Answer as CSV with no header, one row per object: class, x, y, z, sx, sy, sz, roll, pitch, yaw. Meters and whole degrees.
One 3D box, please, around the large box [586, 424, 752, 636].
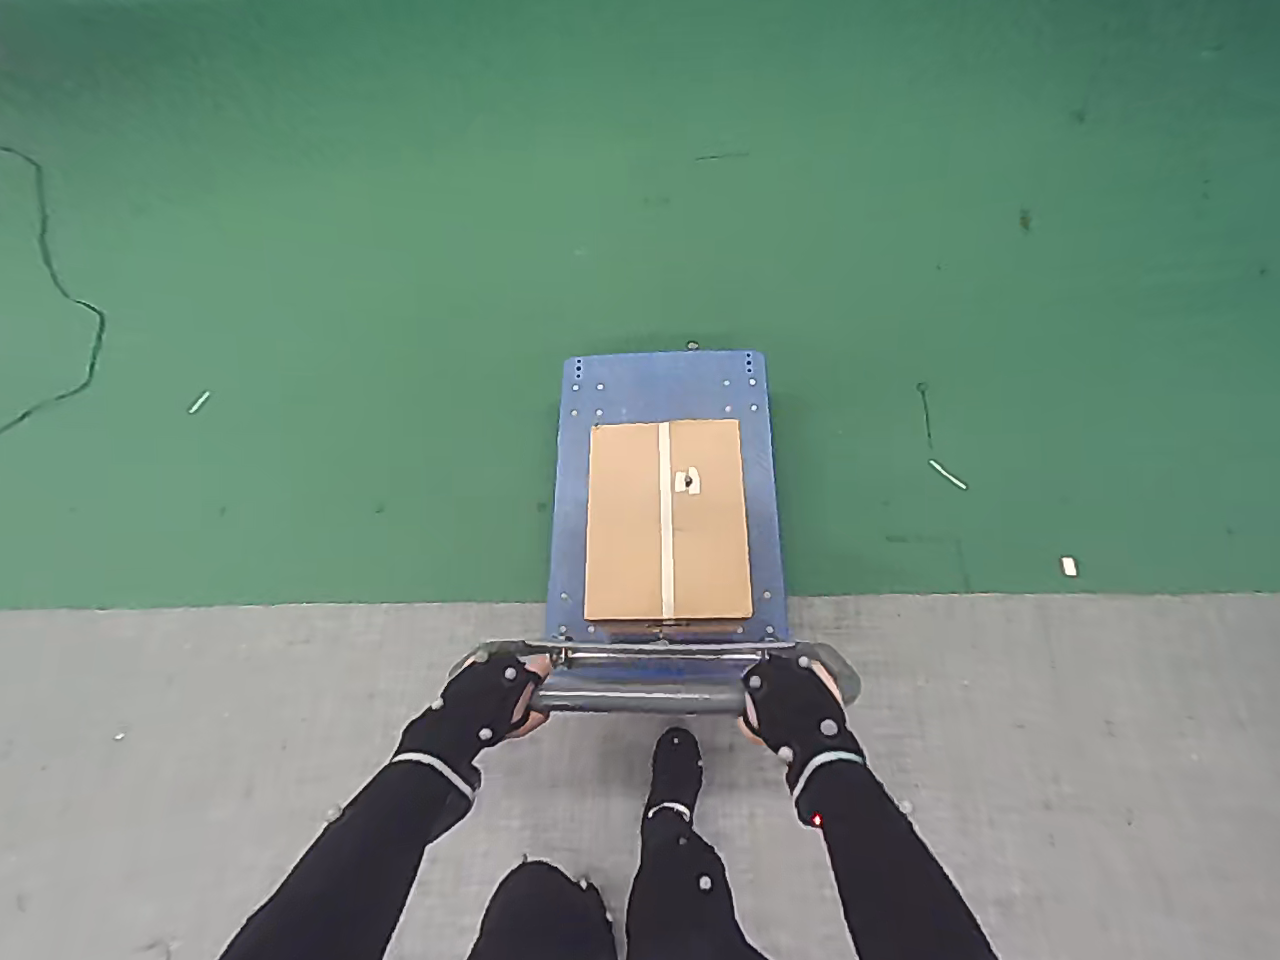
large box,0.066,0.128,1.206,0.320,0.320,0.408,-1,69,4
